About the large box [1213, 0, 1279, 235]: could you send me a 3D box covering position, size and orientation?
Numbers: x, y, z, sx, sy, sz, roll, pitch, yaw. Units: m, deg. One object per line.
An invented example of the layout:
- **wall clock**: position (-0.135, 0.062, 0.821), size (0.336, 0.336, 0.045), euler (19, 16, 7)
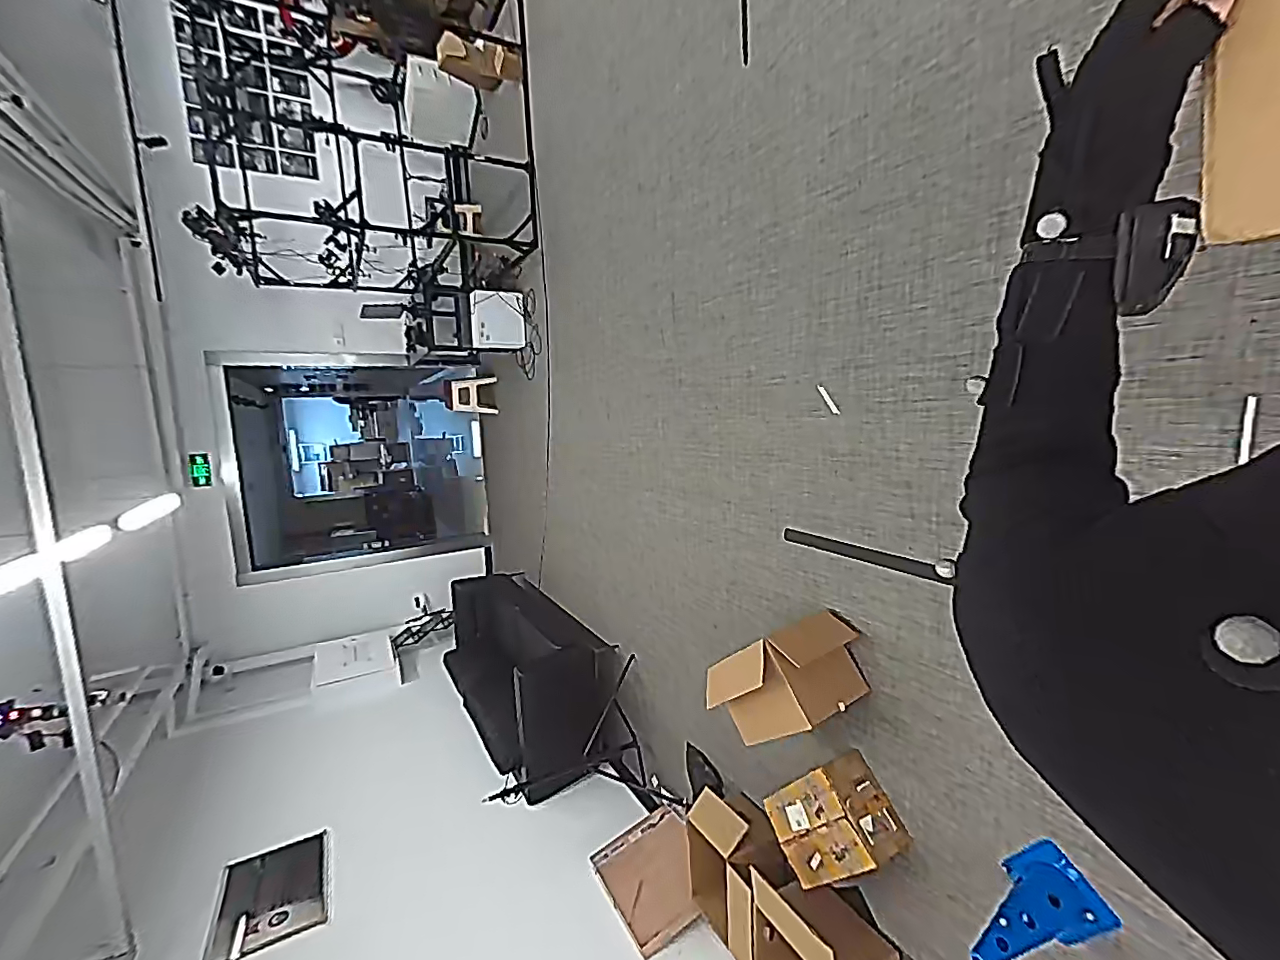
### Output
- **large box**: position (0.545, -0.319, 0.208), size (0.408, 0.320, 0.320), euler (7, 110, 58)
